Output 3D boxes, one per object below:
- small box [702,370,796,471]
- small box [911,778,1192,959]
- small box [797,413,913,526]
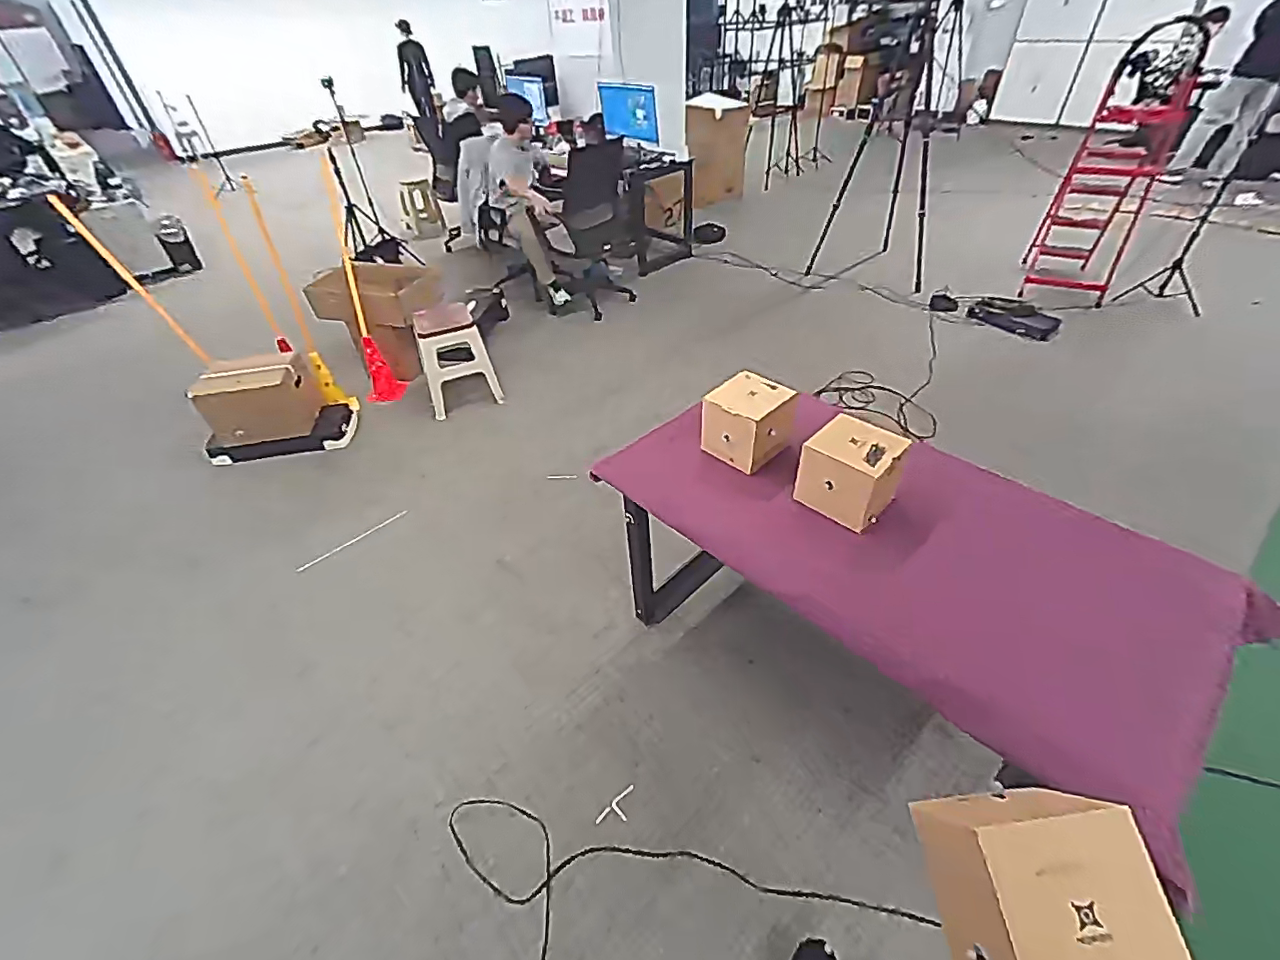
[{"bbox_3d":[0.279,-0.151,1.394,0.179,0.176,0.168,-36,51,-29],"label":"small box"},{"bbox_3d":[0.435,0.447,0.598,0.168,0.176,0.179,-7,67,-1],"label":"small box"},{"bbox_3d":[0.480,-0.020,1.228,0.168,0.176,0.179,-35,49,-30],"label":"small box"}]
